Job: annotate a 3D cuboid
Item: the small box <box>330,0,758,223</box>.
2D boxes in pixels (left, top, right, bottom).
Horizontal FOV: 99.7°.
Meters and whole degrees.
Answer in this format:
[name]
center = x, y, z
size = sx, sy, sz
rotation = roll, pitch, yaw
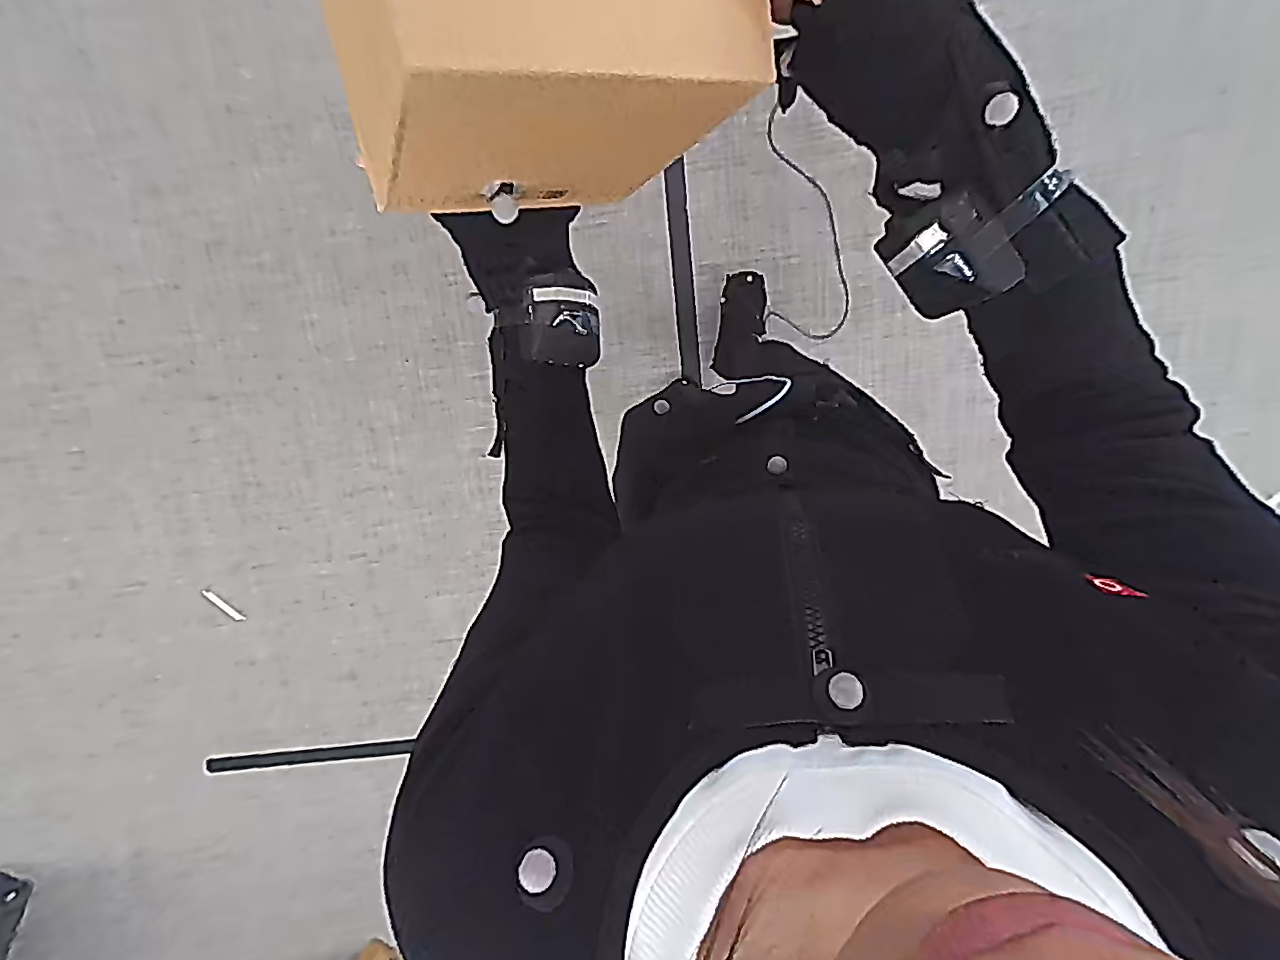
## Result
[small box]
center = -0.065, -0.255, 0.282
size = 0.168, 0.176, 0.179
rotation = -17, 105, -24
